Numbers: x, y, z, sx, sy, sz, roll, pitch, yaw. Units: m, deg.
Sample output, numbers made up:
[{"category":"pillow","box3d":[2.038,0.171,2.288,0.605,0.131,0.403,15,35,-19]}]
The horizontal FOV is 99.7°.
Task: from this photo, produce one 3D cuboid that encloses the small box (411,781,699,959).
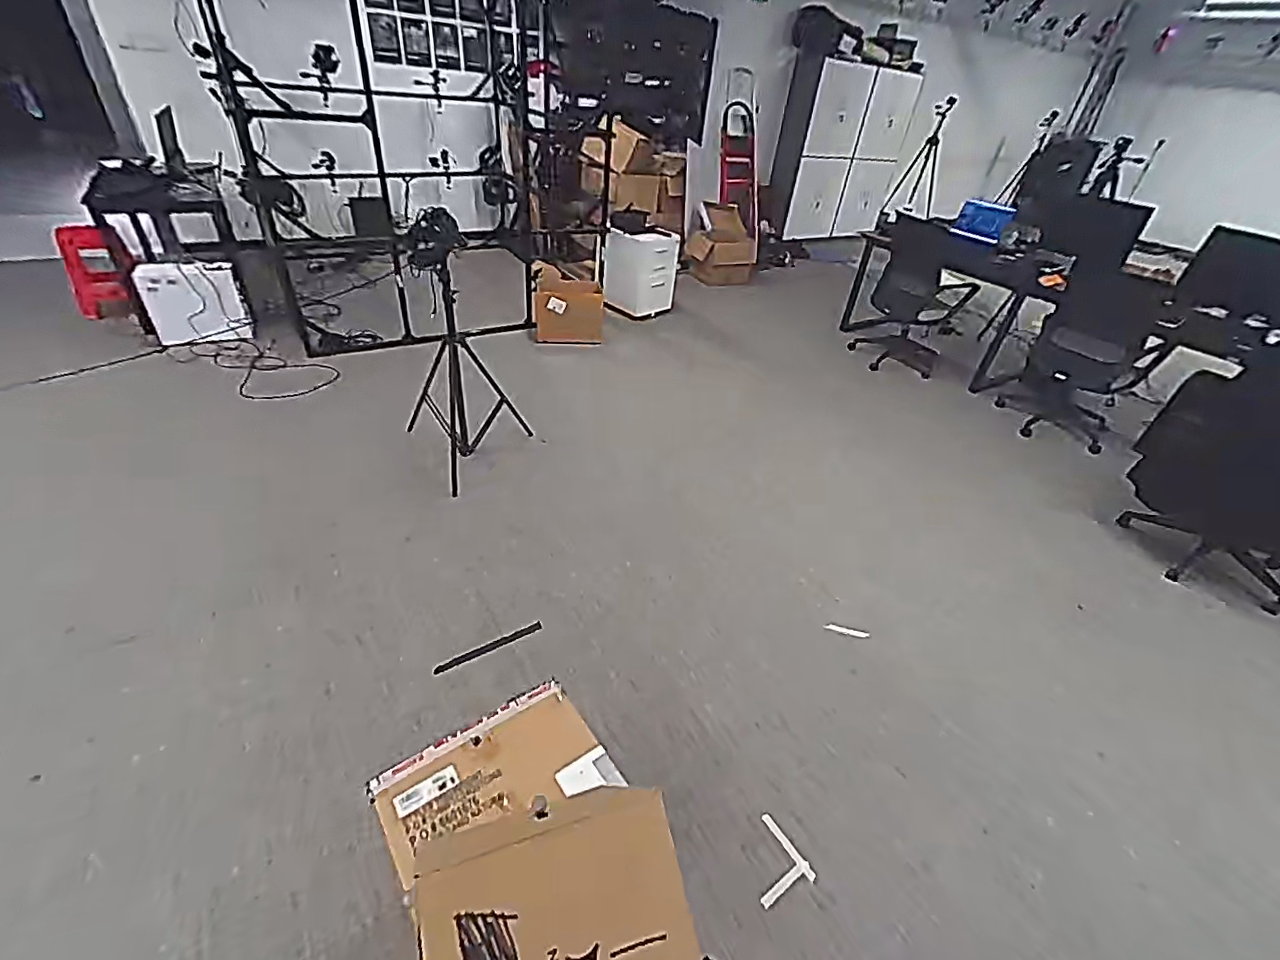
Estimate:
[{"category":"small box","box3d":[-0.071,0.345,0.412,0.179,0.176,0.168,-5,65,-23]}]
